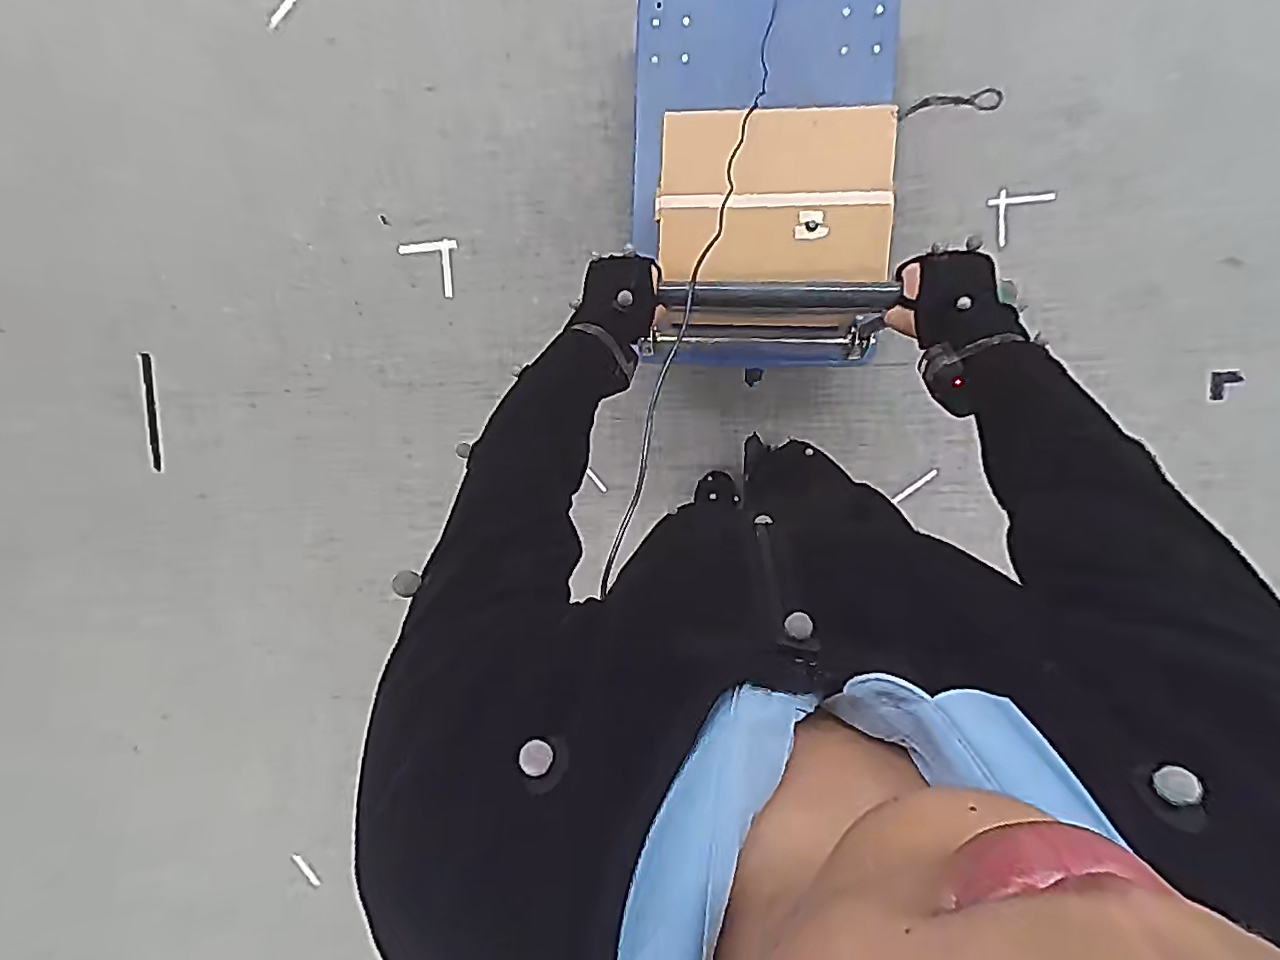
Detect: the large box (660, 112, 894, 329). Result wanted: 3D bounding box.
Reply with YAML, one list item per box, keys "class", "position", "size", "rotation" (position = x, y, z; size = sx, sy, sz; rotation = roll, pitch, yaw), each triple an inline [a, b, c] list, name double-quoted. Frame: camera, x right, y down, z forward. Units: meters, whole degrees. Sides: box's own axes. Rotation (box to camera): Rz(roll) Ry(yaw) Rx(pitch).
- class: "large box"
  position: [0.250, -0.497, 1.107]
  size: [0.408, 0.320, 0.320]
  rotation: [2, 96, 5]
